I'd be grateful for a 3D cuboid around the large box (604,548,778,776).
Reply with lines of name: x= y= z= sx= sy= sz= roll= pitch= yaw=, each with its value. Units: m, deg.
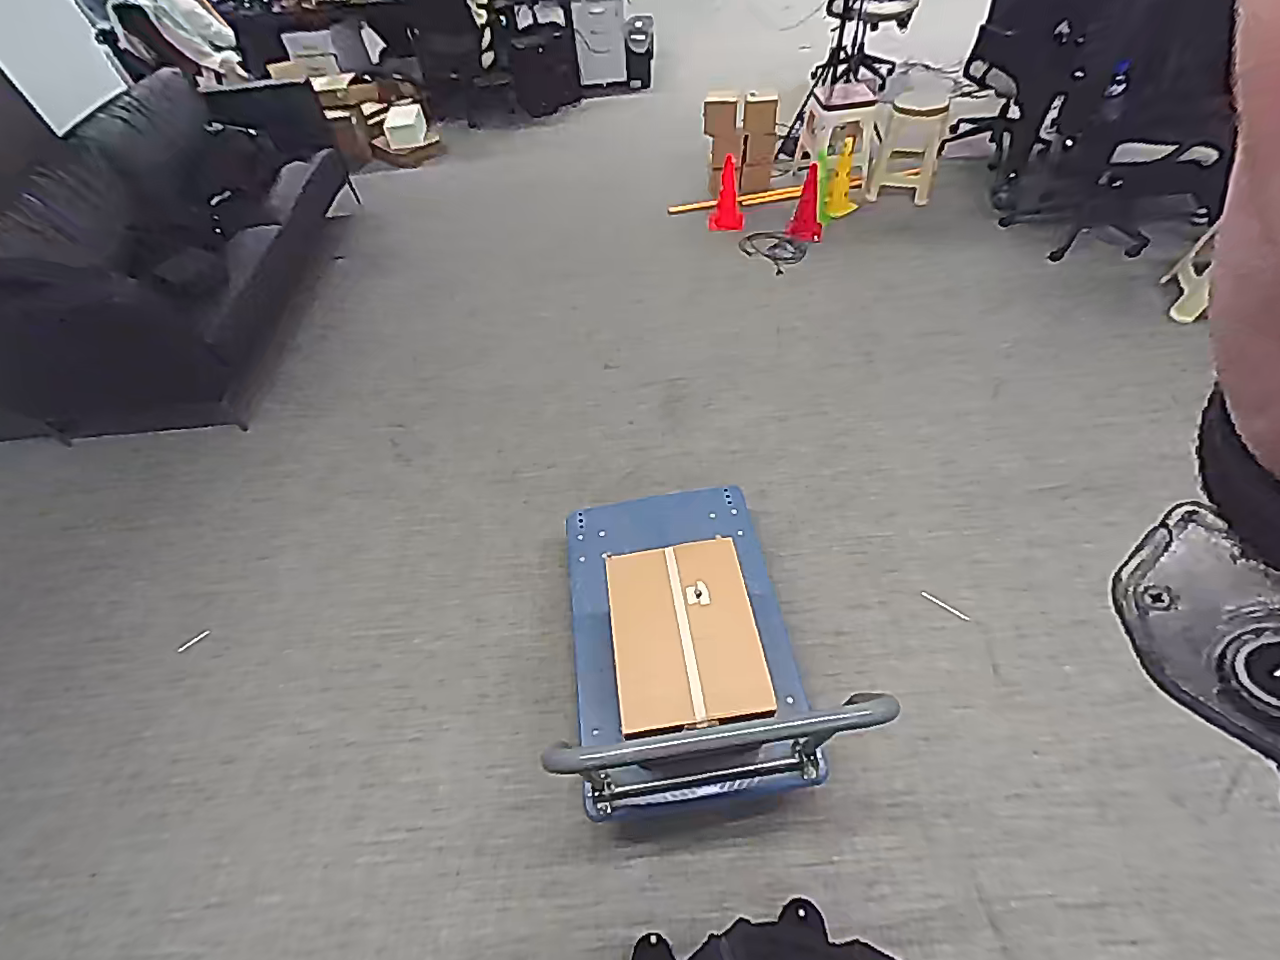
large box: x=0.109 y=0.433 z=1.290 sx=0.320 sy=0.320 sz=0.408 roll=-9 pitch=50 yaw=-1
